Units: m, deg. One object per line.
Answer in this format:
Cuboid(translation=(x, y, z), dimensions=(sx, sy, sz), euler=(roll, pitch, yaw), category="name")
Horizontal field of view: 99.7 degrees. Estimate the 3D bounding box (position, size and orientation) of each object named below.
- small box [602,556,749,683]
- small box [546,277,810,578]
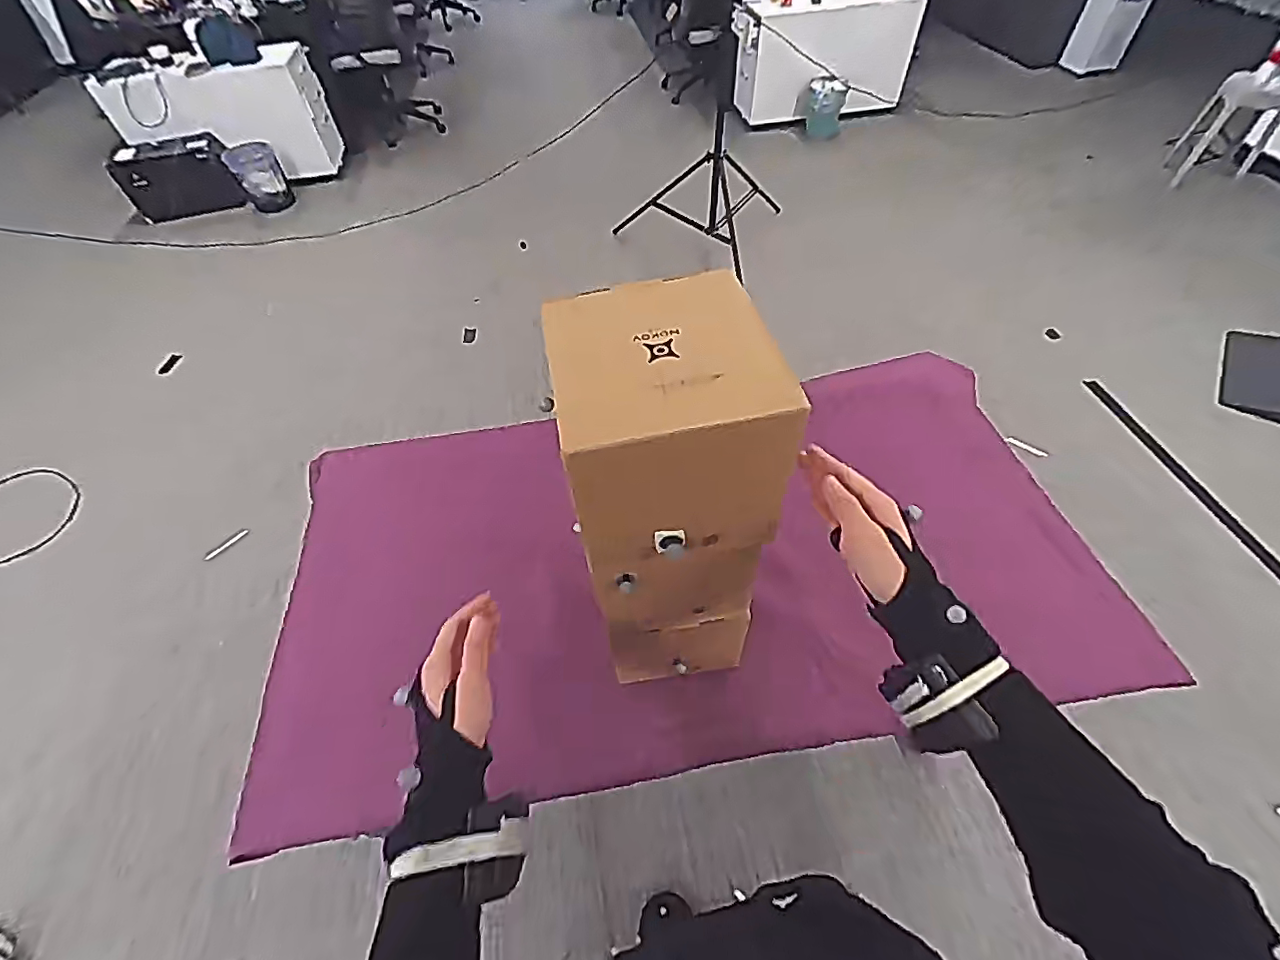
Cuboid(translation=(0.037, 0.150, 0.727), dimensions=(0.168, 0.176, 0.179), euler=(-8, 52, -2), category="small box")
Cuboid(translation=(0.021, -0.042, 0.463), dimensions=(0.168, 0.176, 0.179), euler=(-12, 53, -5), category="small box")
